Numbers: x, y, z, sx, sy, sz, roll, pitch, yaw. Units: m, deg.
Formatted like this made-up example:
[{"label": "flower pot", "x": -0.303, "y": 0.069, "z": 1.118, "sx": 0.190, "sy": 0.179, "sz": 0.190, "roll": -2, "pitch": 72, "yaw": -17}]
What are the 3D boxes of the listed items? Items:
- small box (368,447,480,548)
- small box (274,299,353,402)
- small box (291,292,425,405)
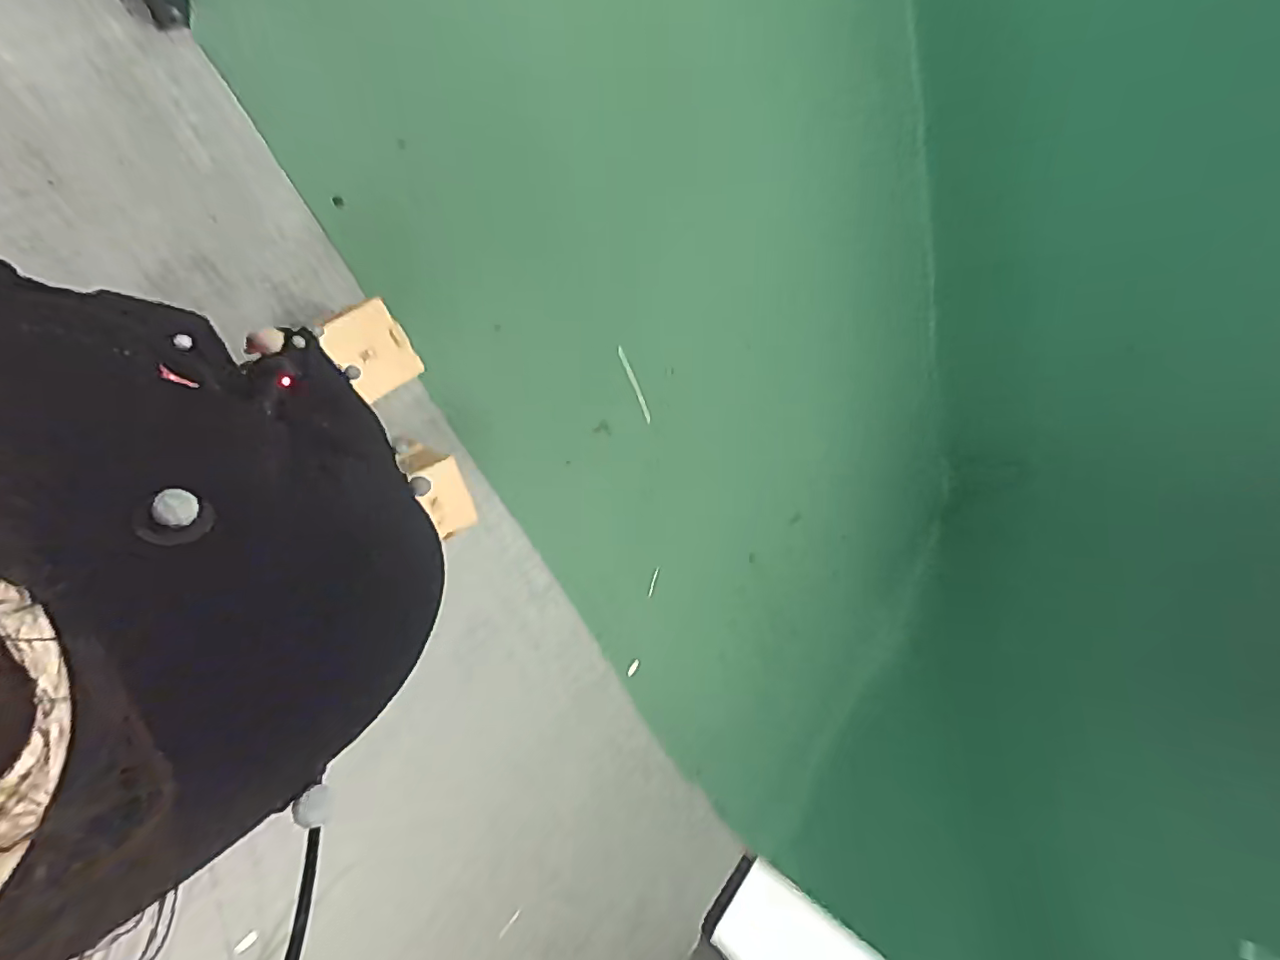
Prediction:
[{"label": "small box", "x": -0.516, "y": 0.030, "z": 1.285, "sx": 0.168, "sy": 0.176, "sz": 0.179, "roll": -32, "pitch": 121, "yaw": -31}, {"label": "small box", "x": -0.710, "y": -0.299, "z": 1.250, "sx": 0.179, "sy": 0.176, "sz": 0.168, "roll": -45, "pitch": 127, "yaw": -25}, {"label": "small box", "x": -0.597, "y": -0.274, "z": 1.135, "sx": 0.179, "sy": 0.176, "sz": 0.168, "roll": -45, "pitch": 126, "yaw": -27}]
